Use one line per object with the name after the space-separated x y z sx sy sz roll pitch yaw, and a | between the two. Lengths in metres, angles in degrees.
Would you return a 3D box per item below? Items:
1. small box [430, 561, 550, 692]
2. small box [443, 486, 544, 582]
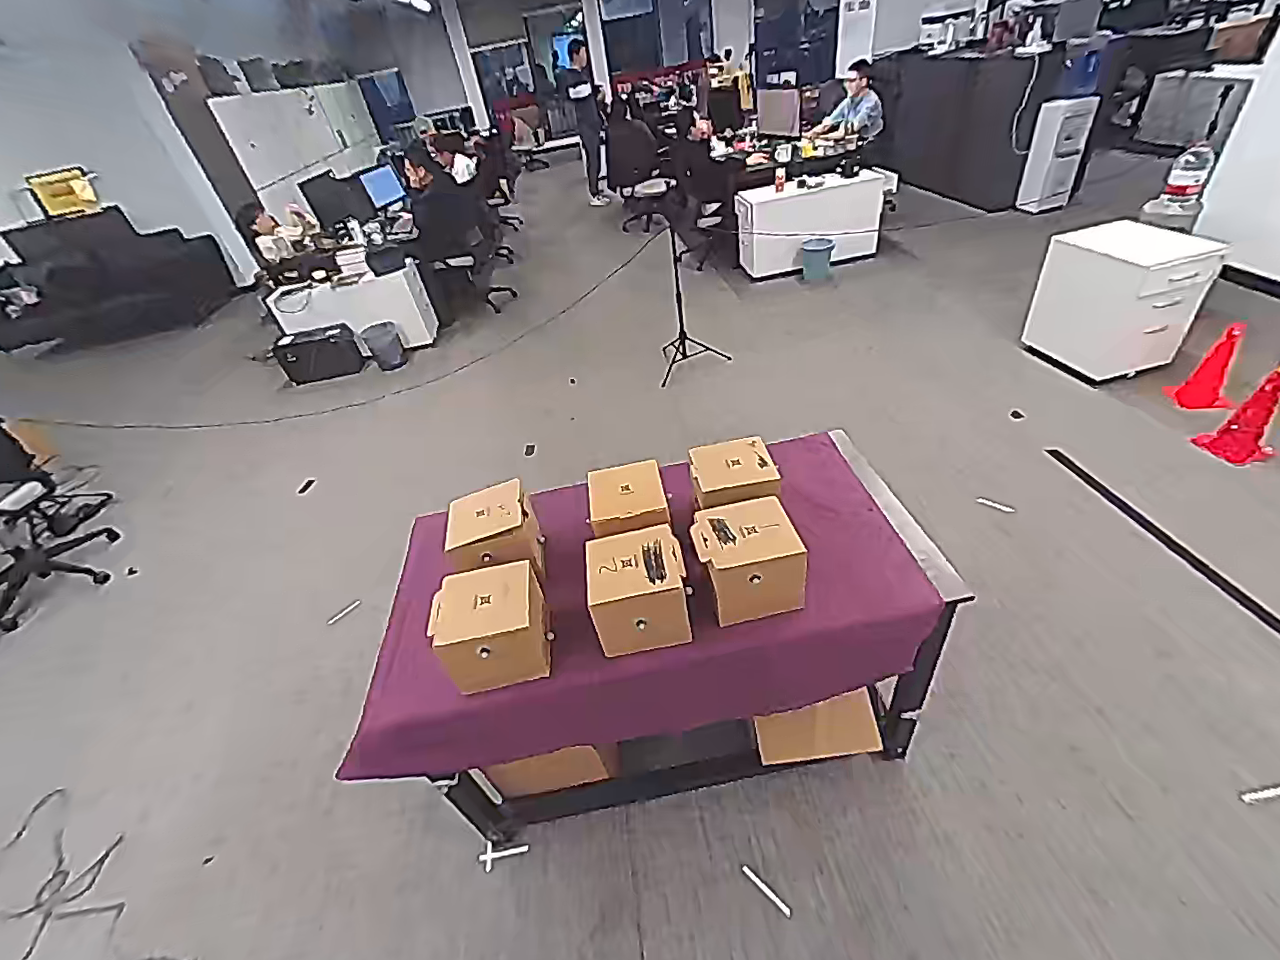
-0.283 0.289 1.056 0.179 0.176 0.168 -11 39 -2 | small box
-0.330 0.144 1.243 0.179 0.176 0.168 -13 39 -3 | small box
